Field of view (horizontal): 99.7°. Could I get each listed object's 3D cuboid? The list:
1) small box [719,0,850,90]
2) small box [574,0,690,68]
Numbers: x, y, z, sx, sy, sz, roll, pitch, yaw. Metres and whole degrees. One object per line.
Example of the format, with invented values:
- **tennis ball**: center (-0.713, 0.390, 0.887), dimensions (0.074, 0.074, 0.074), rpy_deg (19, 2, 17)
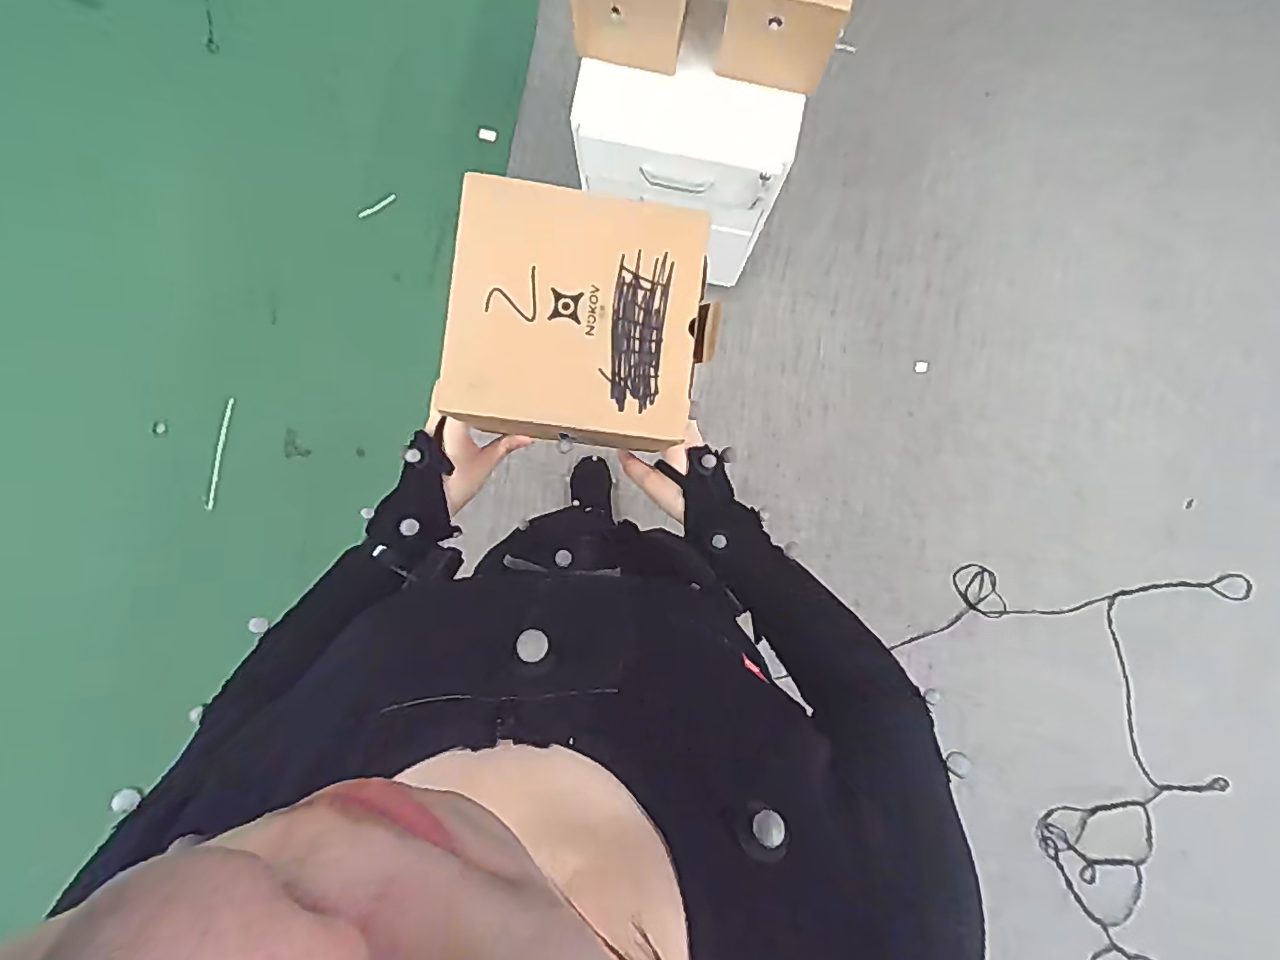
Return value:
- **small box**: center (0.233, -0.769, 0.862), dimensions (0.179, 0.176, 0.168), rpy_deg (13, 88, 0)
- **small box**: center (-0.008, -0.804, 0.858), dimensions (0.179, 0.176, 0.168), rpy_deg (12, 89, -1)
